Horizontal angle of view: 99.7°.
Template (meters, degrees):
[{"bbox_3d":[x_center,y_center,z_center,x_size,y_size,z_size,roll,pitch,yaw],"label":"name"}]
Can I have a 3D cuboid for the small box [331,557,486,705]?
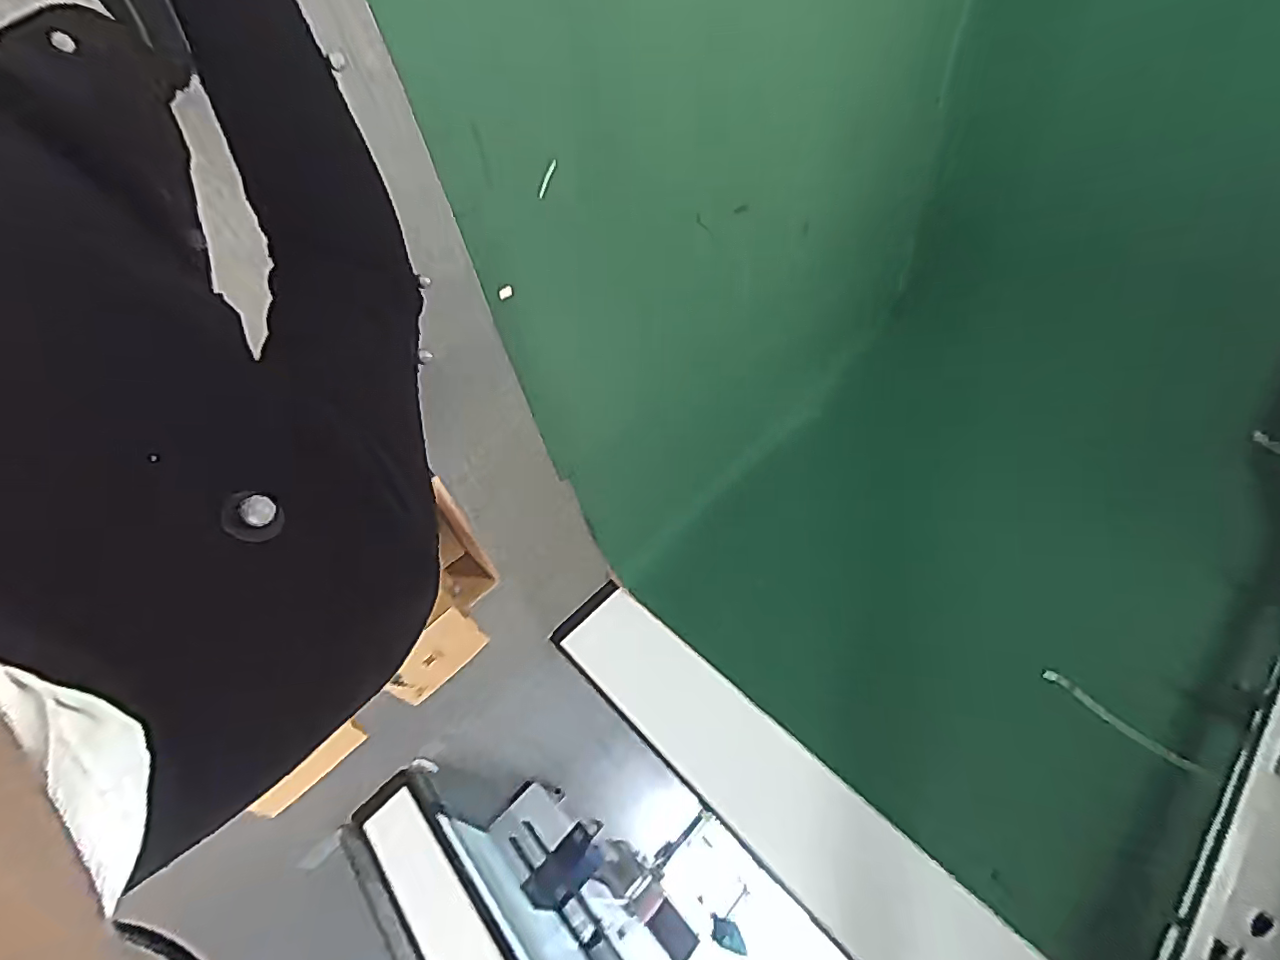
[{"bbox_3d":[-0.429,0.275,1.006,0.179,0.176,0.168,-41,145,-18],"label":"small box"}]
